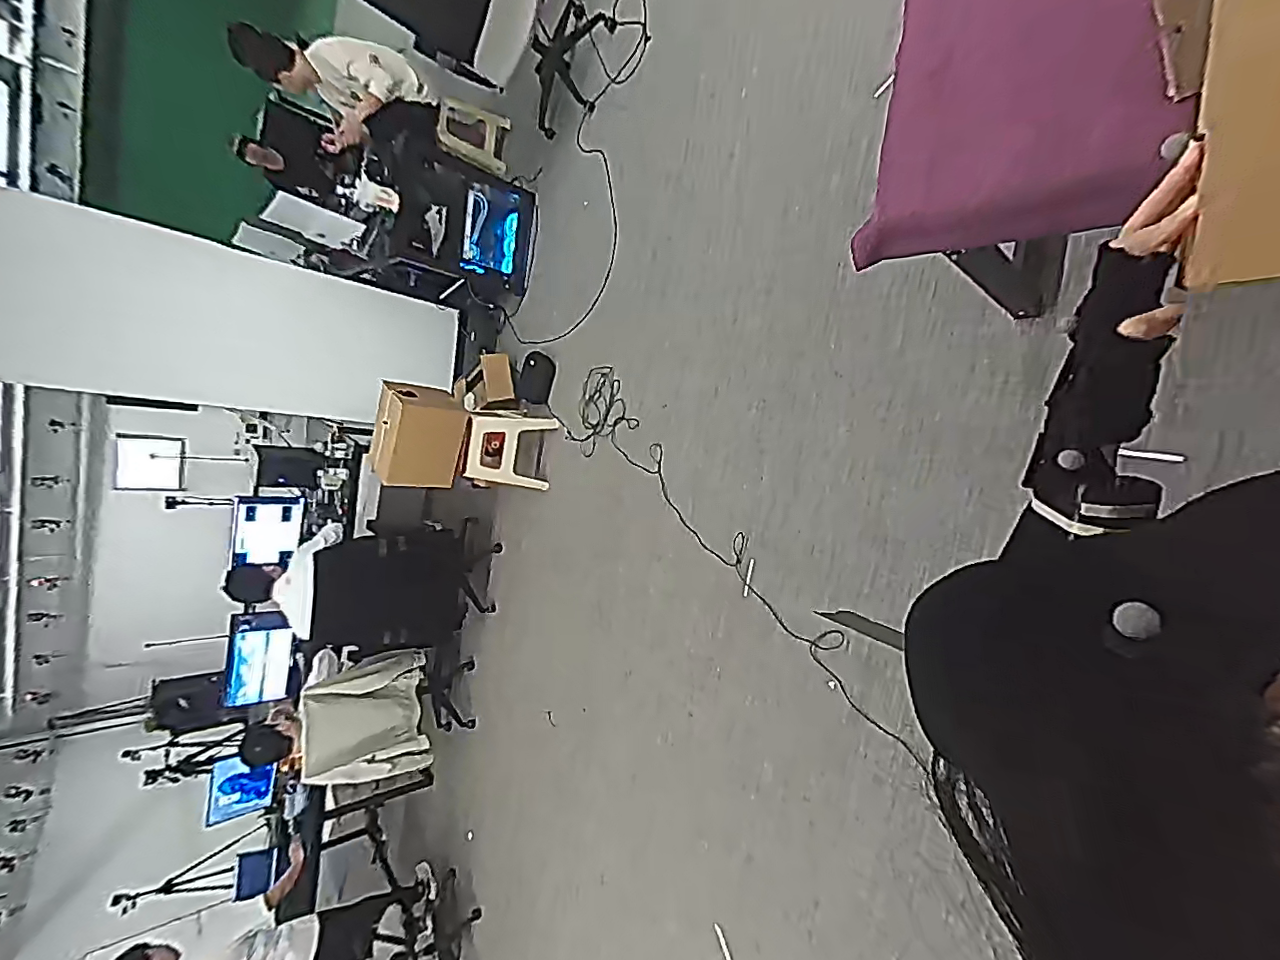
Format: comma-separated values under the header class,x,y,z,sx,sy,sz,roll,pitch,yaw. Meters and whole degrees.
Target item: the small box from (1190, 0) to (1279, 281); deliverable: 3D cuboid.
class,x,y,z,sx,sy,sz,roll,pitch,yaw
small box,0.375,-0.191,0.239,0.168,0.176,0.179,7,109,40
